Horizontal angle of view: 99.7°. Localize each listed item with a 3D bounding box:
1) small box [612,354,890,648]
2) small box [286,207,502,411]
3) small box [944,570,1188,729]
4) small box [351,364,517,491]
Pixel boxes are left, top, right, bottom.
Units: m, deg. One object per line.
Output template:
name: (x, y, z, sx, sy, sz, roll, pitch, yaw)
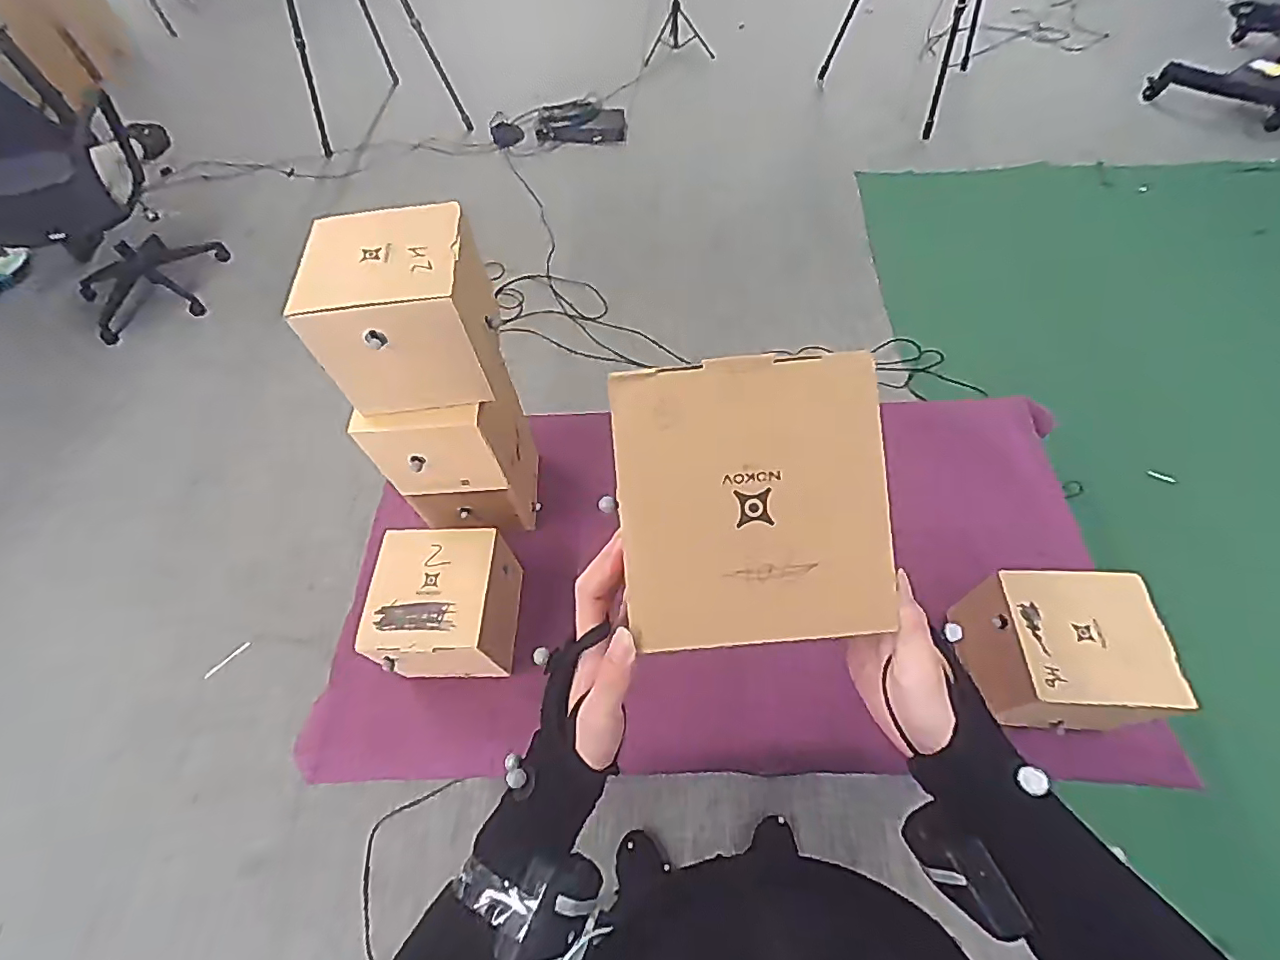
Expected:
small box: (0.067, 0.014, 0.414, 0.168, 0.176, 0.179, -5, 89, 1)
small box: (-0.280, -0.200, 0.661, 0.179, 0.176, 0.168, -6, 59, -1)
small box: (0.551, 0.234, 0.732, 0.179, 0.176, 0.168, 2, 58, 5)
small box: (-0.283, -0.093, 0.789, 0.168, 0.176, 0.179, -4, 58, 1)
